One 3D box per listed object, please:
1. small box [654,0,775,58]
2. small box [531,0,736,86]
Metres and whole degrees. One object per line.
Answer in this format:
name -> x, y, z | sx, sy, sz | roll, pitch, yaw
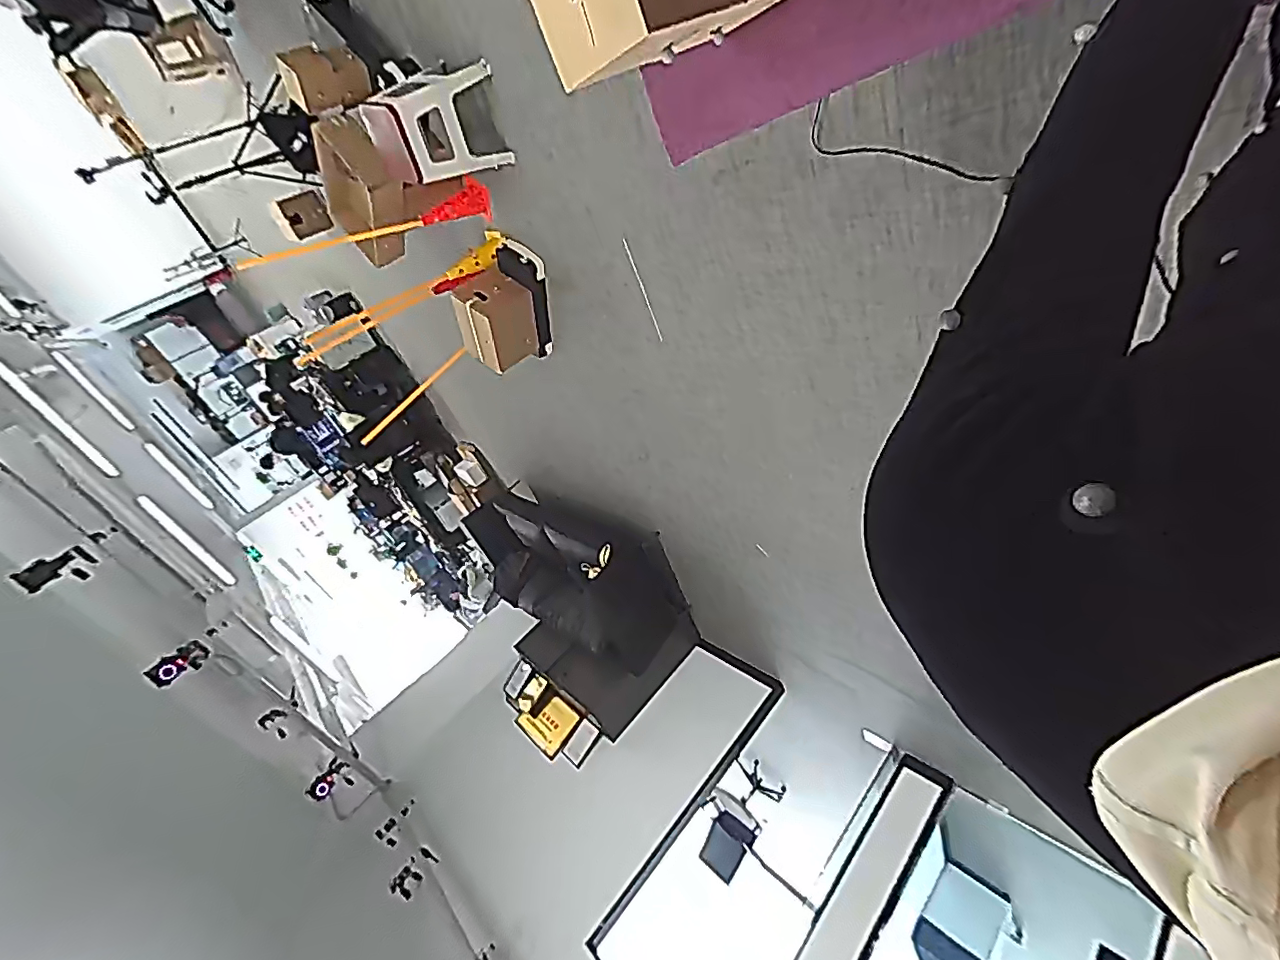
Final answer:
small box -> 0.094, -0.690, 0.688 | 0.168, 0.176, 0.179 | 15, 138, 49
small box -> -0.017, -0.595, 0.614 | 0.168, 0.176, 0.179 | 16, 139, 49
